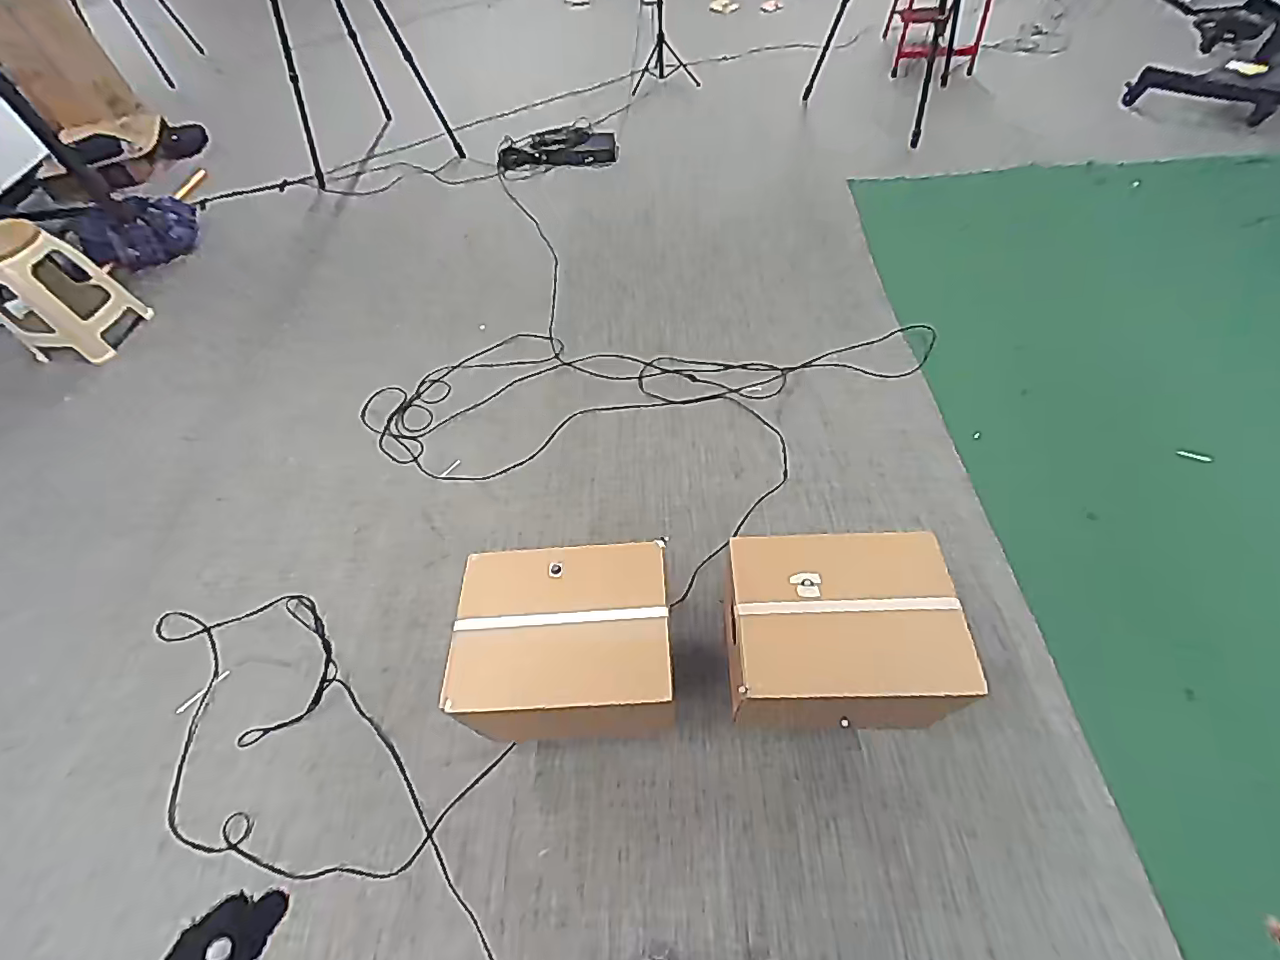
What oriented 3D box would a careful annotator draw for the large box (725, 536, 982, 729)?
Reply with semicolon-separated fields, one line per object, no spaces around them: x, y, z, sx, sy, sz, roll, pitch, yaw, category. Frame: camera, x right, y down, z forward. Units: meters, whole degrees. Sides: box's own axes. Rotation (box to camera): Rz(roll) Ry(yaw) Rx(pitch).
0.397;0.331;1.132;0.408;0.320;0.320;-2;55;4;large box
